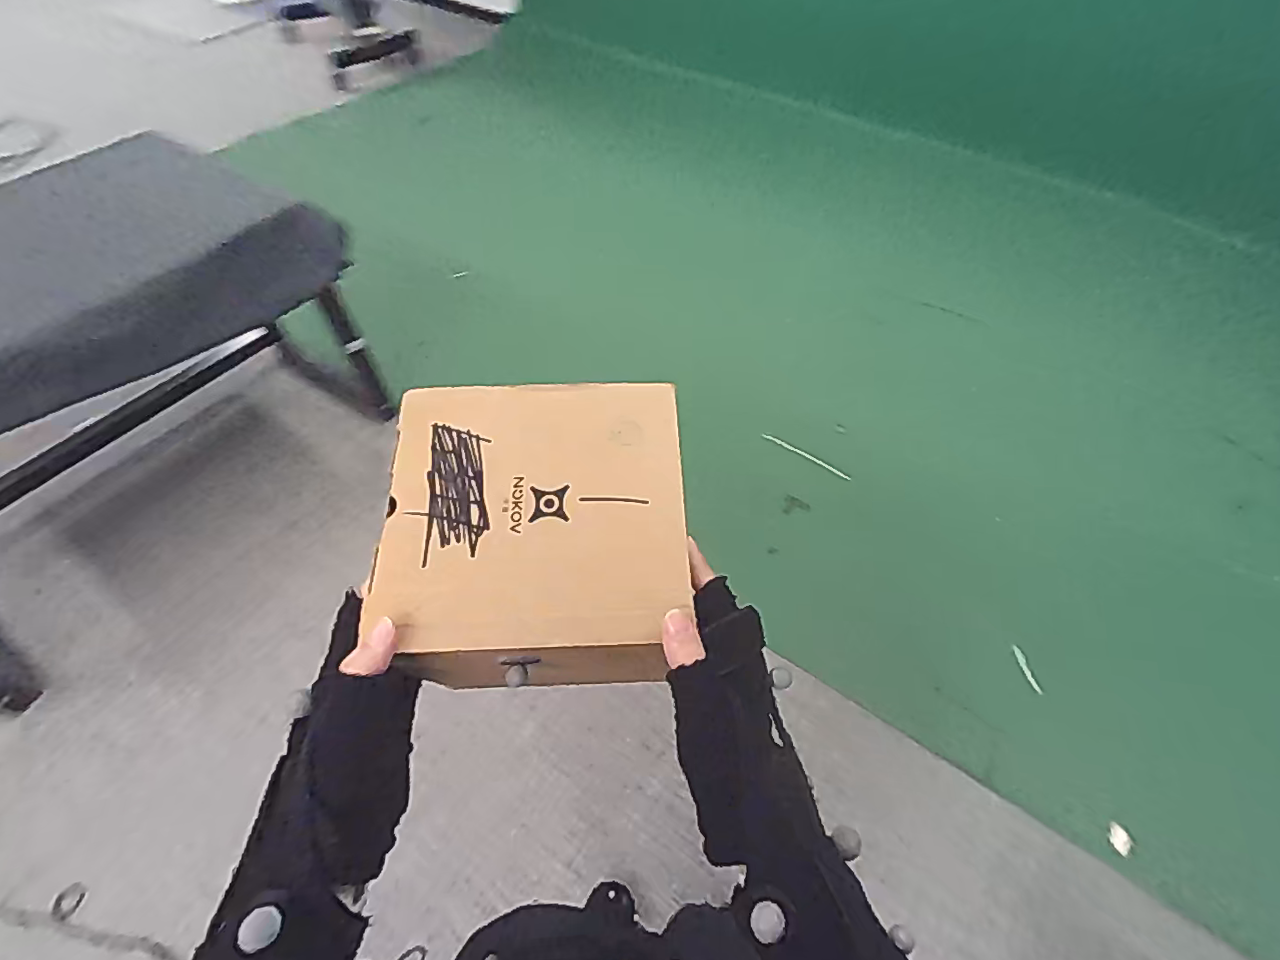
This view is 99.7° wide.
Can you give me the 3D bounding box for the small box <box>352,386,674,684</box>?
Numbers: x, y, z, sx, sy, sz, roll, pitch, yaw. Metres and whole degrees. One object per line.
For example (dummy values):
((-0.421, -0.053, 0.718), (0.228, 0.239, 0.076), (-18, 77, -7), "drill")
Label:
((-0.072, 0.050, 0.395), (0.179, 0.176, 0.168), (-2, 63, -3), "small box")
